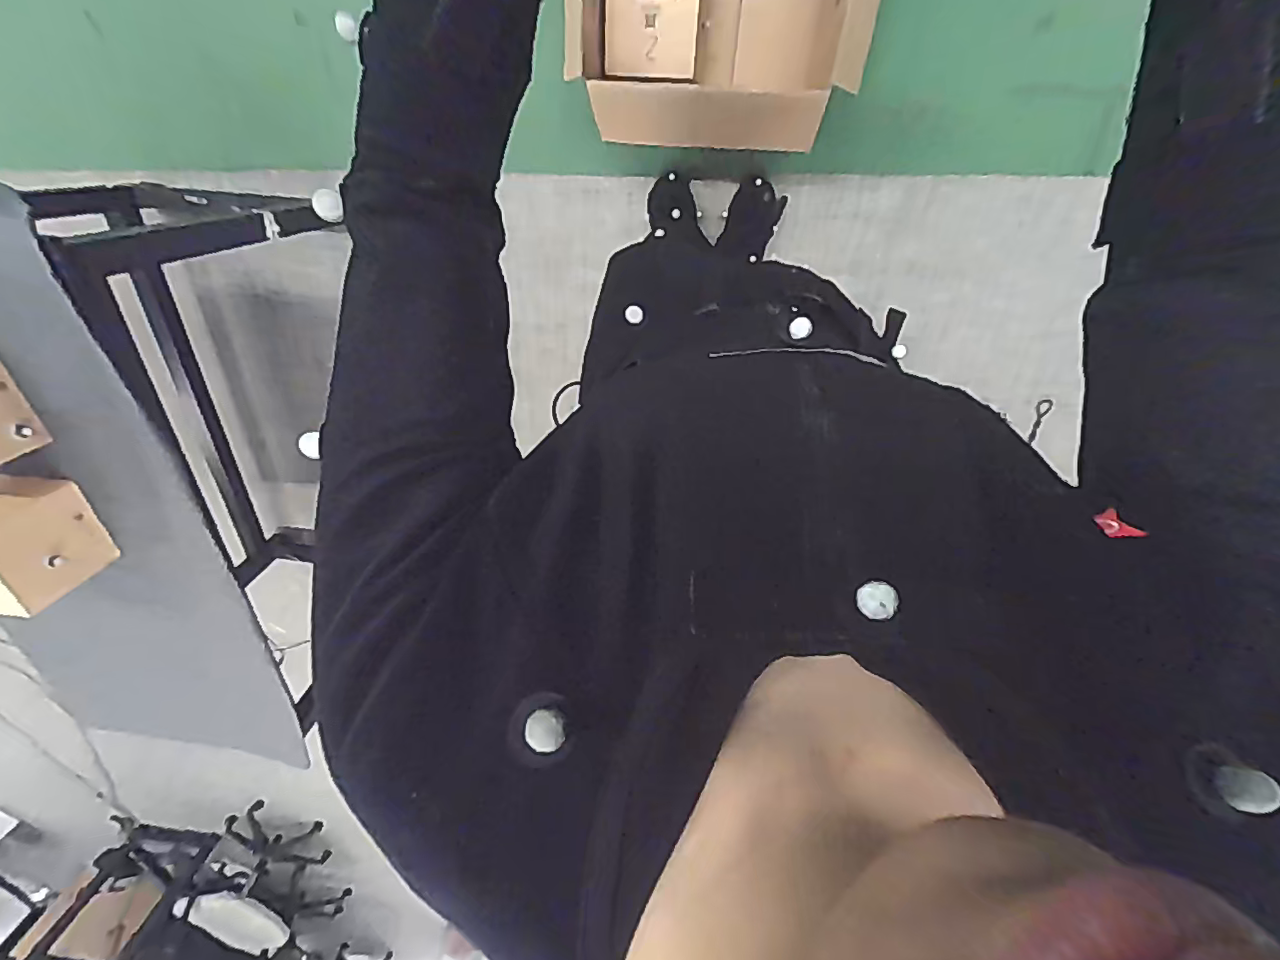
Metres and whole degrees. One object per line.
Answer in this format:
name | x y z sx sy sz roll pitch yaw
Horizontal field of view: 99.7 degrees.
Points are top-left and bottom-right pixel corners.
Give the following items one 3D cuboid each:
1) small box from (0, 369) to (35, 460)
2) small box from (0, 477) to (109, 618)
small box | -1.053 -0.095 0.778 0.179 0.176 0.168 4 122 7
small box | -1.062 0.107 0.908 0.179 0.176 0.168 4 122 7
